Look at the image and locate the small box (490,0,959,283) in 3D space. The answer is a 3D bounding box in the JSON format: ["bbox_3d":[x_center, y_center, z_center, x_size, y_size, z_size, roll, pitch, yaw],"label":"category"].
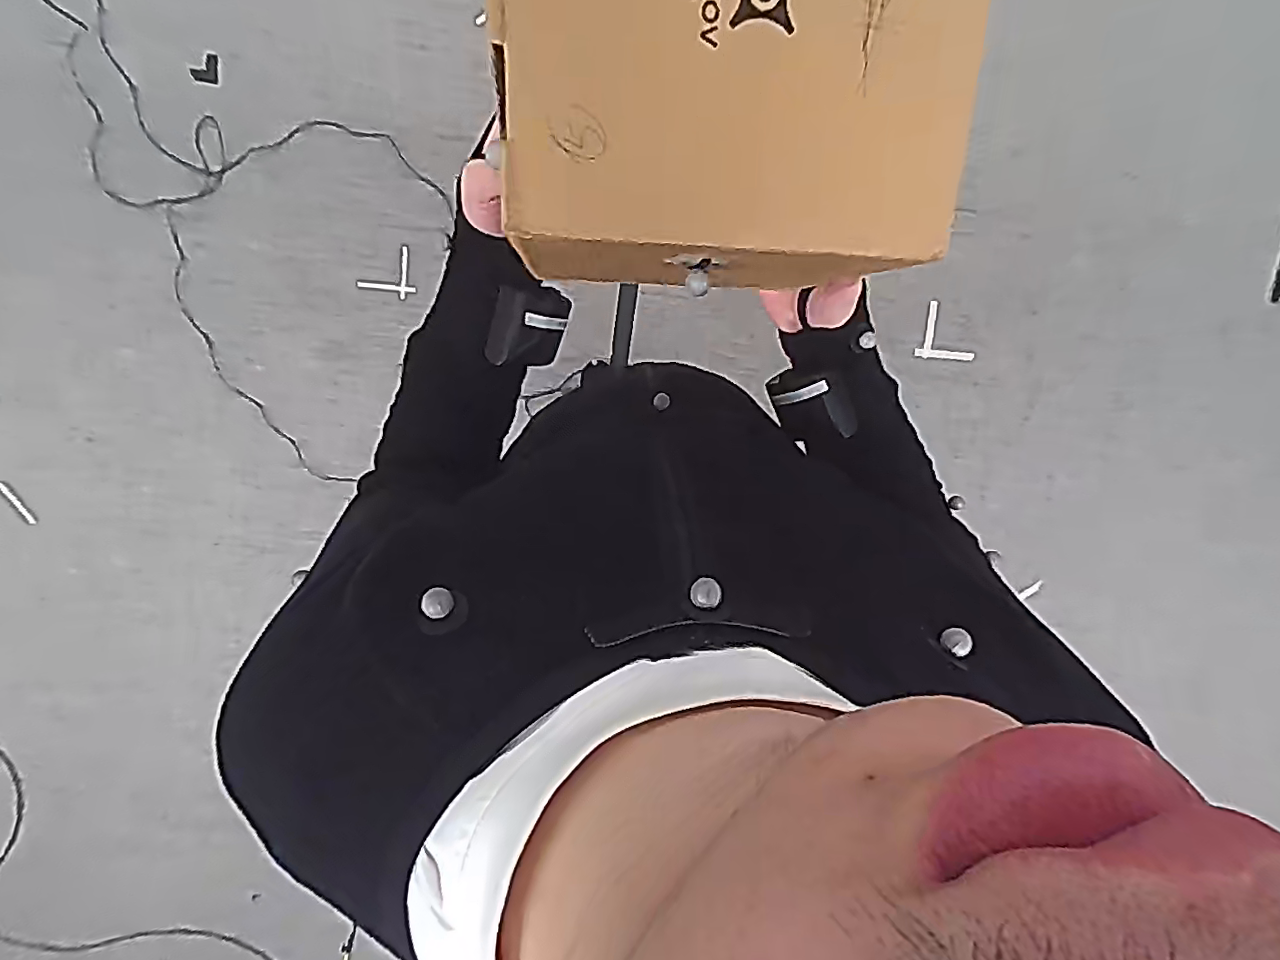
[{"bbox_3d":[0.025,-0.195,0.273,0.179,0.176,0.168,1,106,-8],"label":"small box"}]
